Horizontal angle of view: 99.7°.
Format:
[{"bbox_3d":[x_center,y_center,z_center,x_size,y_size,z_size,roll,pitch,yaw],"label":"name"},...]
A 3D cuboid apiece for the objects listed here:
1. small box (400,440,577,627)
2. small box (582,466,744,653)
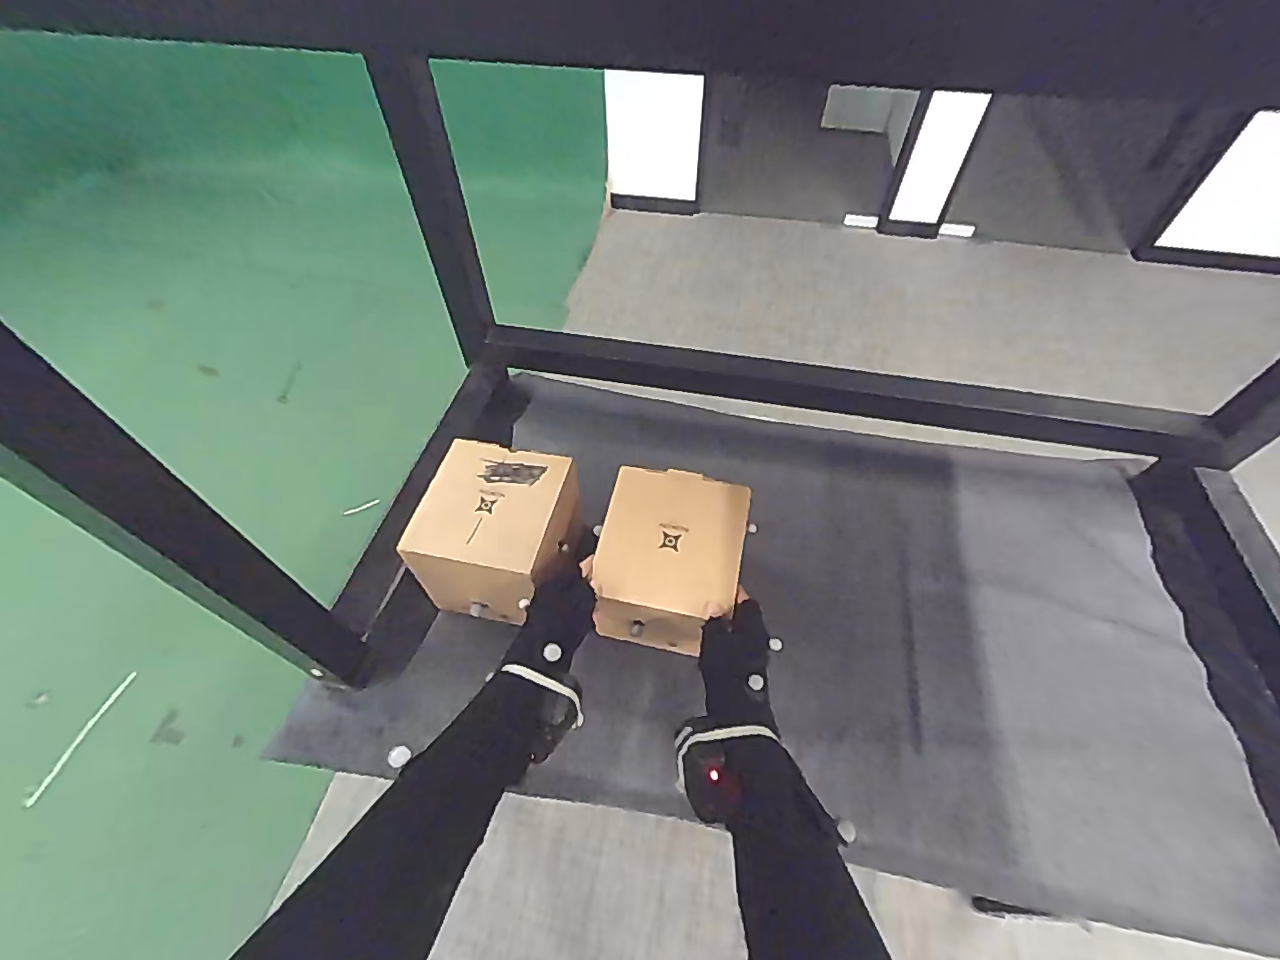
[{"bbox_3d":[-0.187,0.075,0.735,0.168,0.176,0.179,10,53,7],"label":"small box"},{"bbox_3d":[0.034,0.109,0.703,0.168,0.176,0.179,10,58,8],"label":"small box"}]
